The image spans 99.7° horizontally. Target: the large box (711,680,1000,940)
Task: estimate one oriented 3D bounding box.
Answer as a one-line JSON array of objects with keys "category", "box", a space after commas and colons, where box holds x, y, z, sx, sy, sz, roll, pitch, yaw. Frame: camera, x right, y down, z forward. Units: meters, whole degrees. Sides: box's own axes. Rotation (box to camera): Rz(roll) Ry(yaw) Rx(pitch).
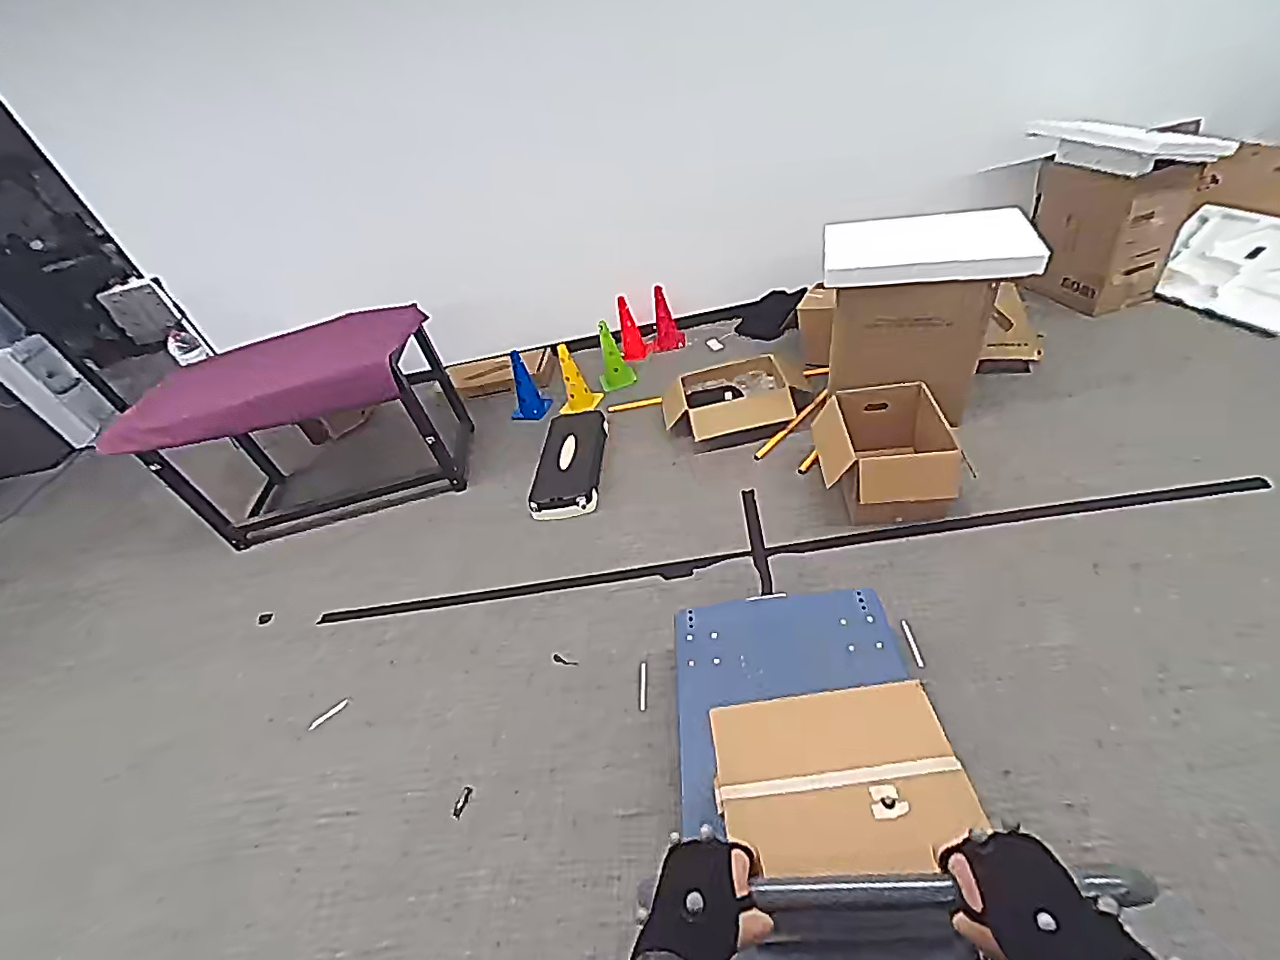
[{"category": "large box", "box": [0.368, 0.629, 1.032, 0.408, 0.320, 0.320, -10, 40, 5]}]
